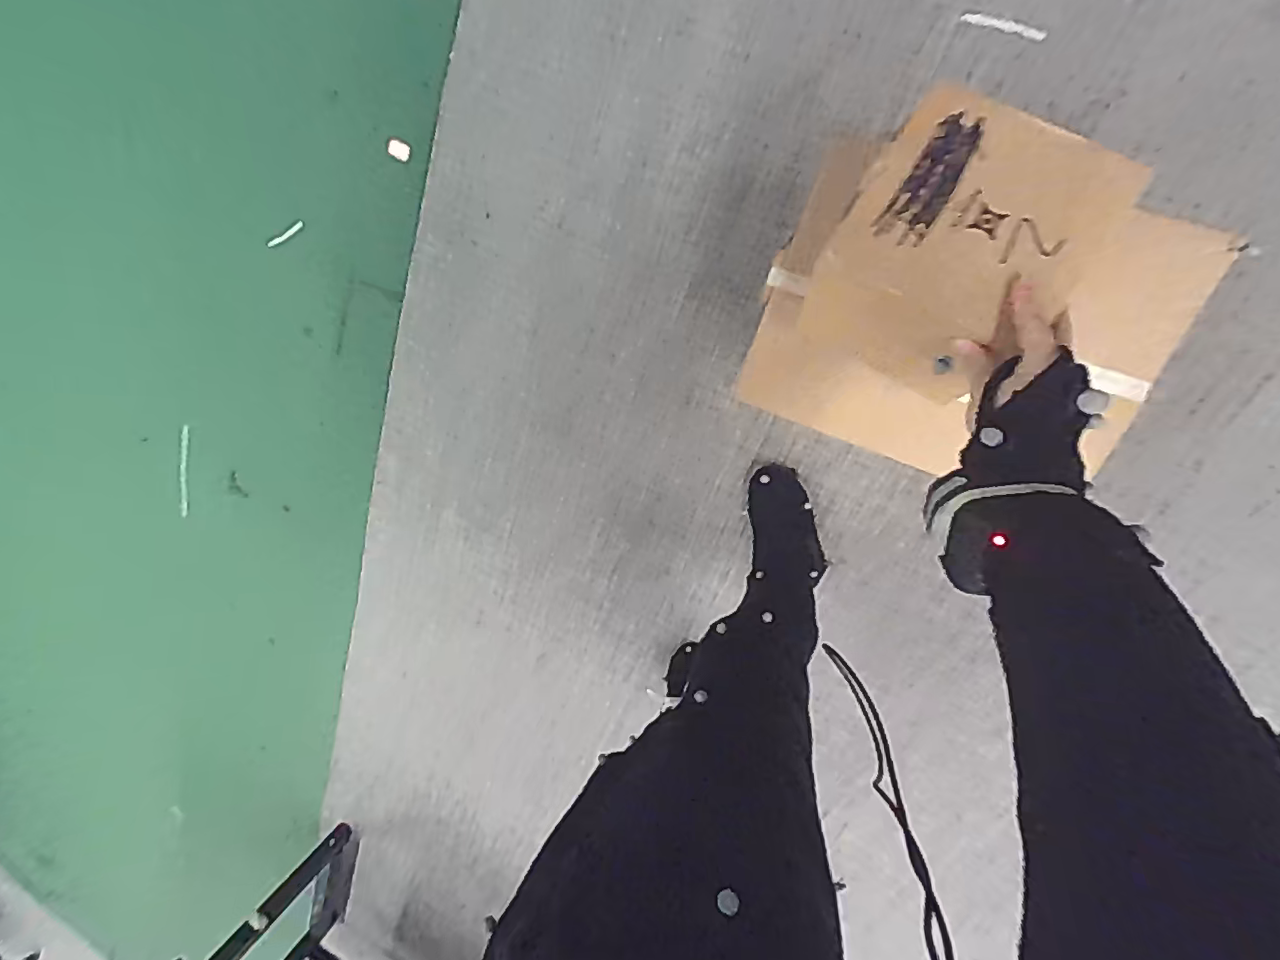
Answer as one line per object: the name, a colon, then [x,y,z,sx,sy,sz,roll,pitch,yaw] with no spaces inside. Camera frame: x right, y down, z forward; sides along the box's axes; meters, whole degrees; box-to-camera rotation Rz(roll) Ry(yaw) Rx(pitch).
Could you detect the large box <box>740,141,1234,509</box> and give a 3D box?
large box: [0.392,-0.209,0.744,0.408,0.320,0.320,22,112,11]
